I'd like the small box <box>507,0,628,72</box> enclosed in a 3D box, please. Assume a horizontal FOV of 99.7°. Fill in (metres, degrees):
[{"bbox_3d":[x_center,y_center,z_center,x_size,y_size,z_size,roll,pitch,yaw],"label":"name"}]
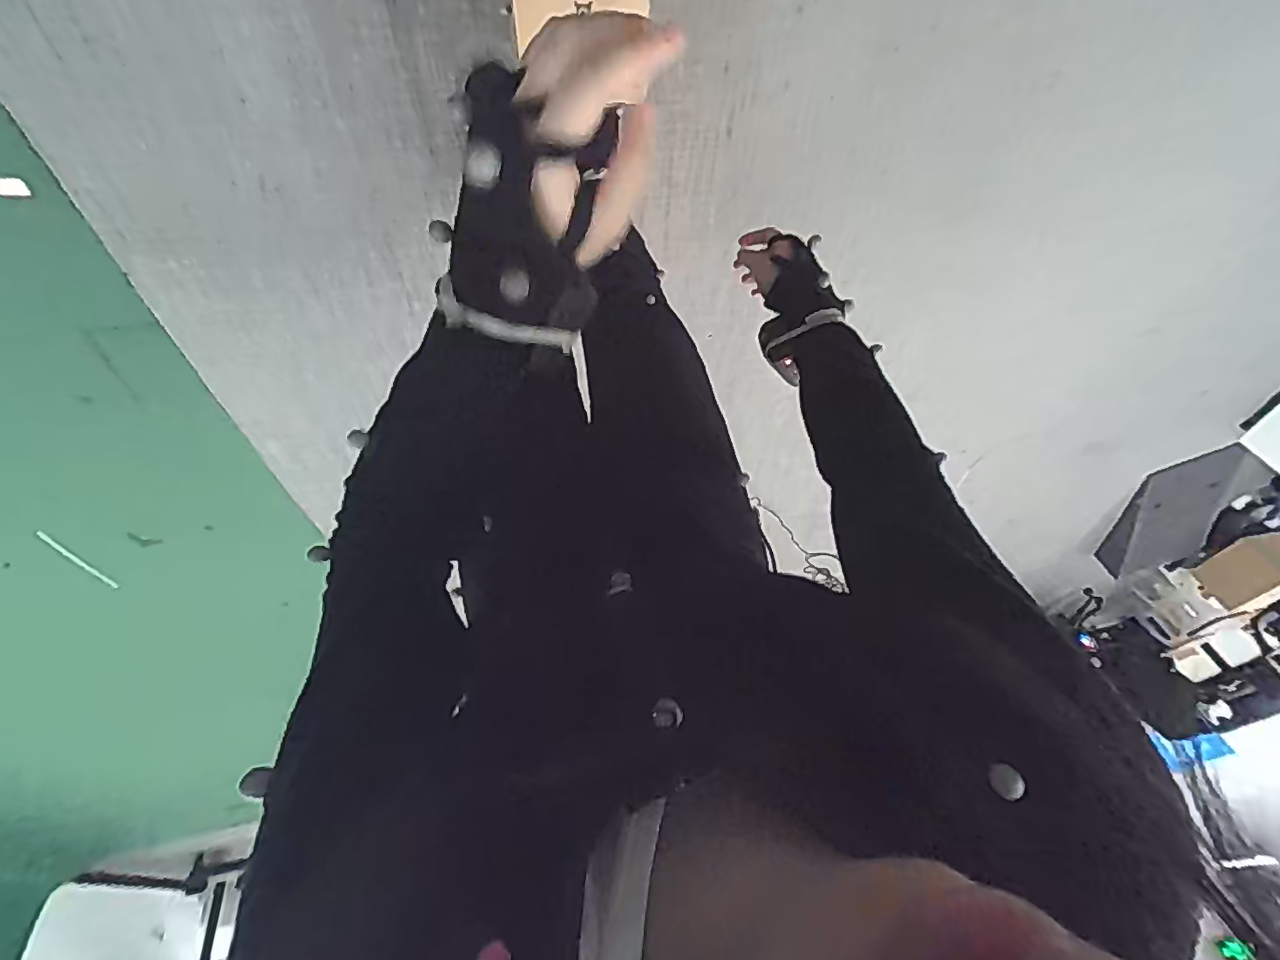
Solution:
[{"bbox_3d":[-0.113,-0.735,0.801,0.168,0.176,0.179,-7,142,-9],"label":"small box"}]
